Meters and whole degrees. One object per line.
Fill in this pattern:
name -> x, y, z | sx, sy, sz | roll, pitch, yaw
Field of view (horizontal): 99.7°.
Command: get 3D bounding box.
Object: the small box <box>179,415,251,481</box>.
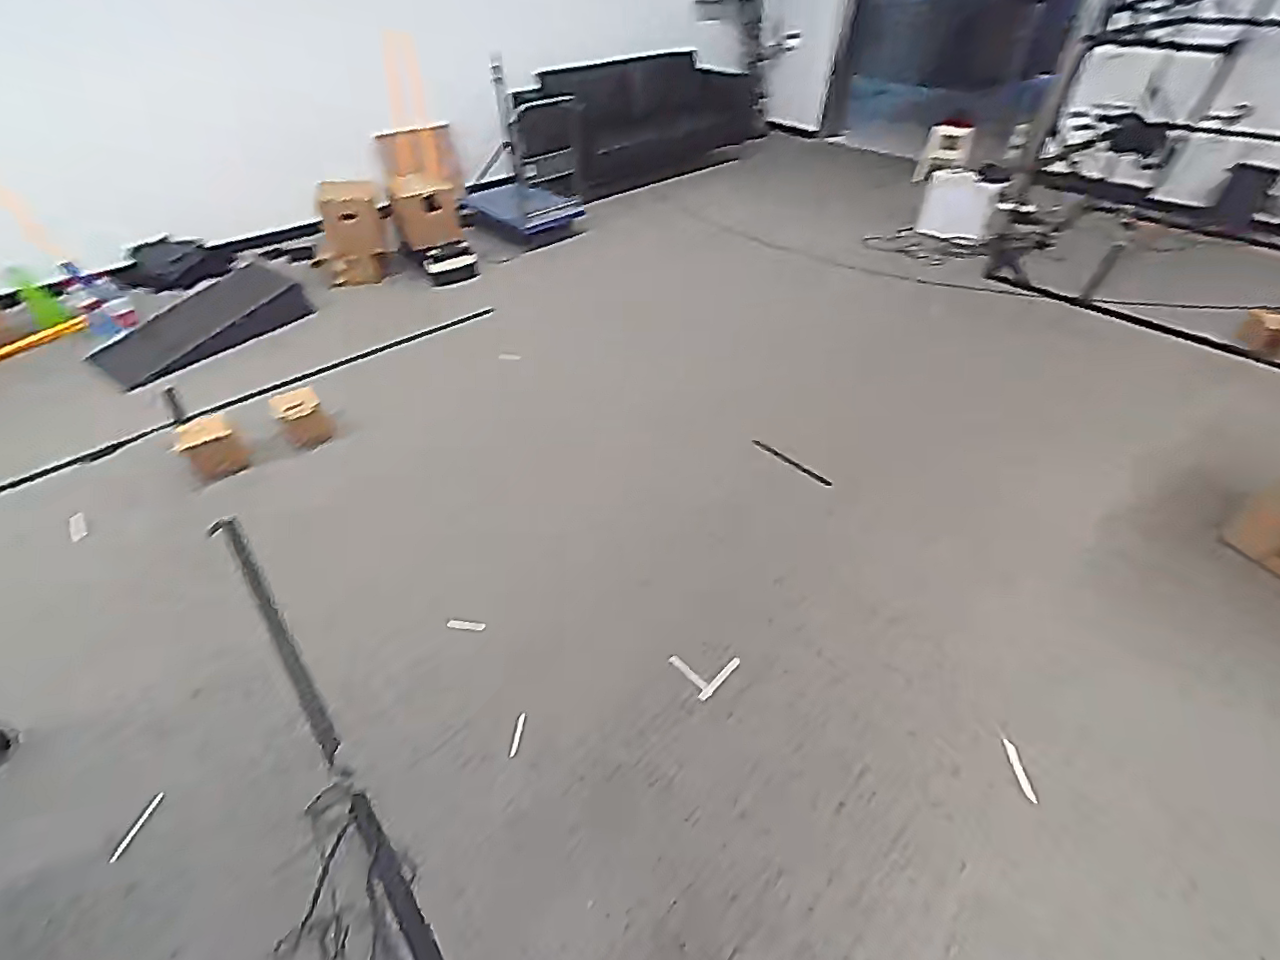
small box -> -1.699, -0.127, 2.173 | 0.179, 0.176, 0.168 | -26, 50, -26

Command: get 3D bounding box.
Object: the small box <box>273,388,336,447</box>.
small box -> -1.434, -0.262, 2.319 | 0.168, 0.176, 0.179 | -26, 49, -26
